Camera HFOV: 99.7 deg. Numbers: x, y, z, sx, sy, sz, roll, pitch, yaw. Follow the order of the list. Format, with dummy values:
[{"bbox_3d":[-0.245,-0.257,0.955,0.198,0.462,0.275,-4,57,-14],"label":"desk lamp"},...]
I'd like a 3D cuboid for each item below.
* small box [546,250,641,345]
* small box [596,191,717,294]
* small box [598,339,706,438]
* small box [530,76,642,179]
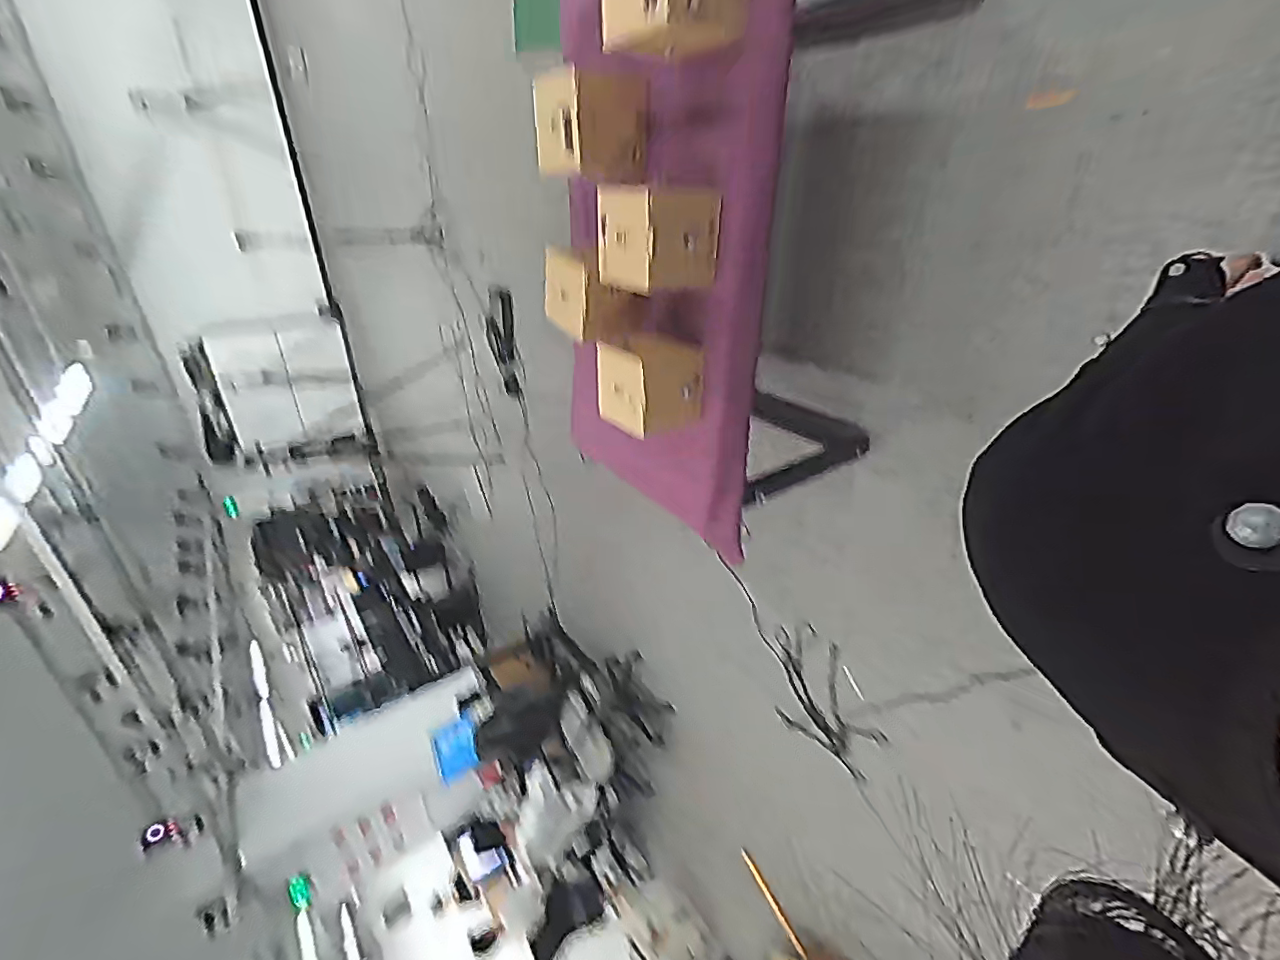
[{"bbox_3d":[-0.110,-0.443,1.290,0.179,0.176,0.168,41,137,37],"label":"small box"},{"bbox_3d":[0.033,-0.471,1.059,0.179,0.176,0.168,33,132,45],"label":"small box"},{"bbox_3d":[0.024,-0.213,1.210,0.179,0.176,0.168,32,132,45],"label":"small box"},{"bbox_3d":[-0.108,-0.728,1.132,0.179,0.176,0.168,31,131,47],"label":"small box"}]
